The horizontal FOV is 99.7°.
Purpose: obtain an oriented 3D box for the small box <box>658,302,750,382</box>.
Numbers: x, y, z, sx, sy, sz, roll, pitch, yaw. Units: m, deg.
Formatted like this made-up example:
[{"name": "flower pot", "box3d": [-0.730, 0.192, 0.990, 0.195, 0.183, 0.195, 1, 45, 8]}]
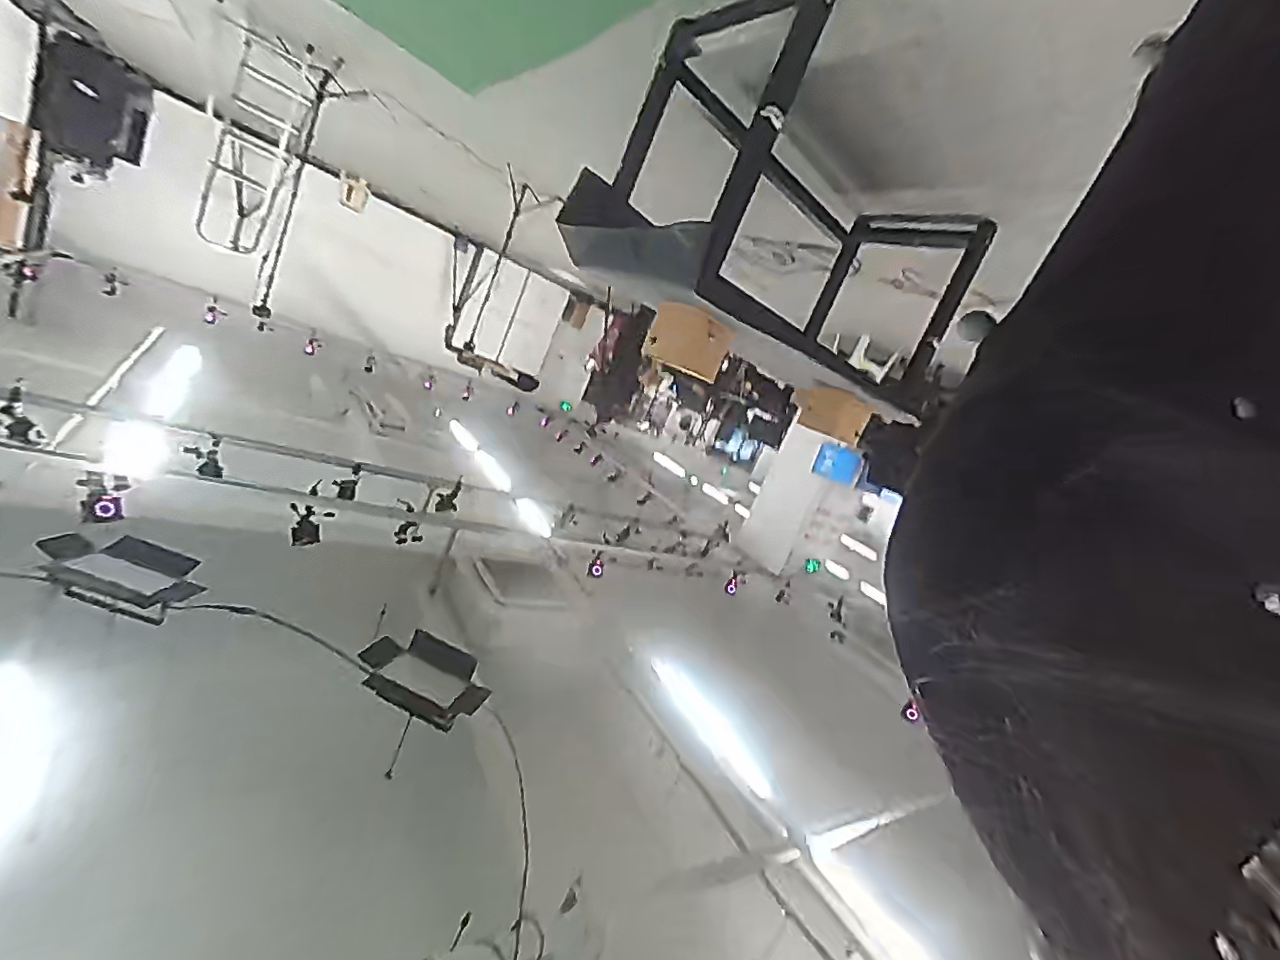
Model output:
[{"name": "small box", "box3d": [0.189, -0.409, 1.586, 0.168, 0.176, 0.179, 13, -165, -37]}]
